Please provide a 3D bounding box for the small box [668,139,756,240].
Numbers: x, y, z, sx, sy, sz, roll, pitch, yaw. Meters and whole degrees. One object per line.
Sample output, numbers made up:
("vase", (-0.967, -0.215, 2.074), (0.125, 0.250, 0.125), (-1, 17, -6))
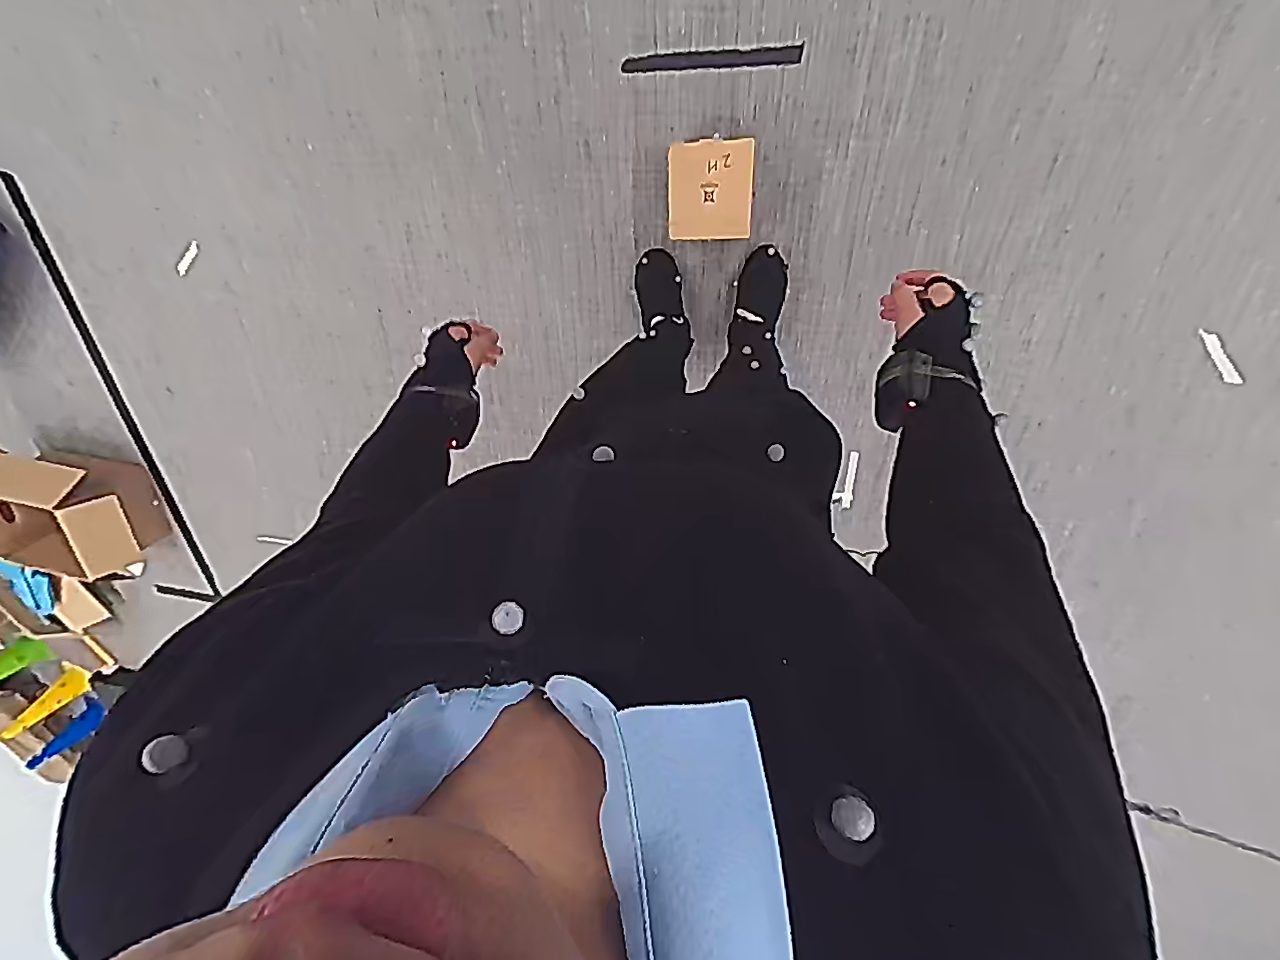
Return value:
("small box", (0.152, -0.605, 1.127), (0.168, 0.176, 0.179), (4, 119, 11))
